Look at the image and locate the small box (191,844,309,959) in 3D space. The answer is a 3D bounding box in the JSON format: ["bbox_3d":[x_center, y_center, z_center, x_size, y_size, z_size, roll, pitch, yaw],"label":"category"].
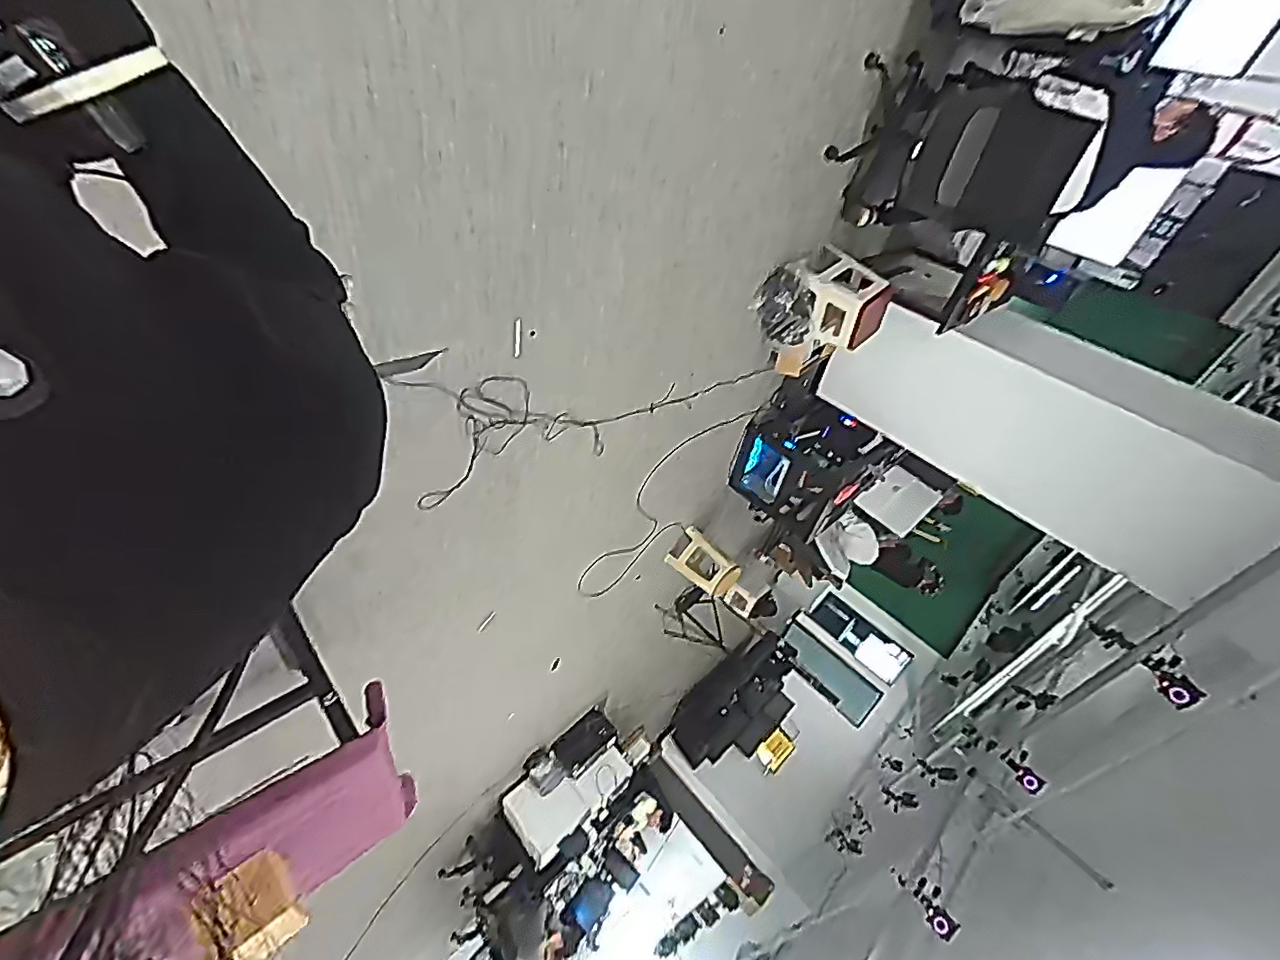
[{"bbox_3d":[-0.942,1.028,1.307,0.168,0.176,0.179,-28,146,-36],"label":"small box"}]
